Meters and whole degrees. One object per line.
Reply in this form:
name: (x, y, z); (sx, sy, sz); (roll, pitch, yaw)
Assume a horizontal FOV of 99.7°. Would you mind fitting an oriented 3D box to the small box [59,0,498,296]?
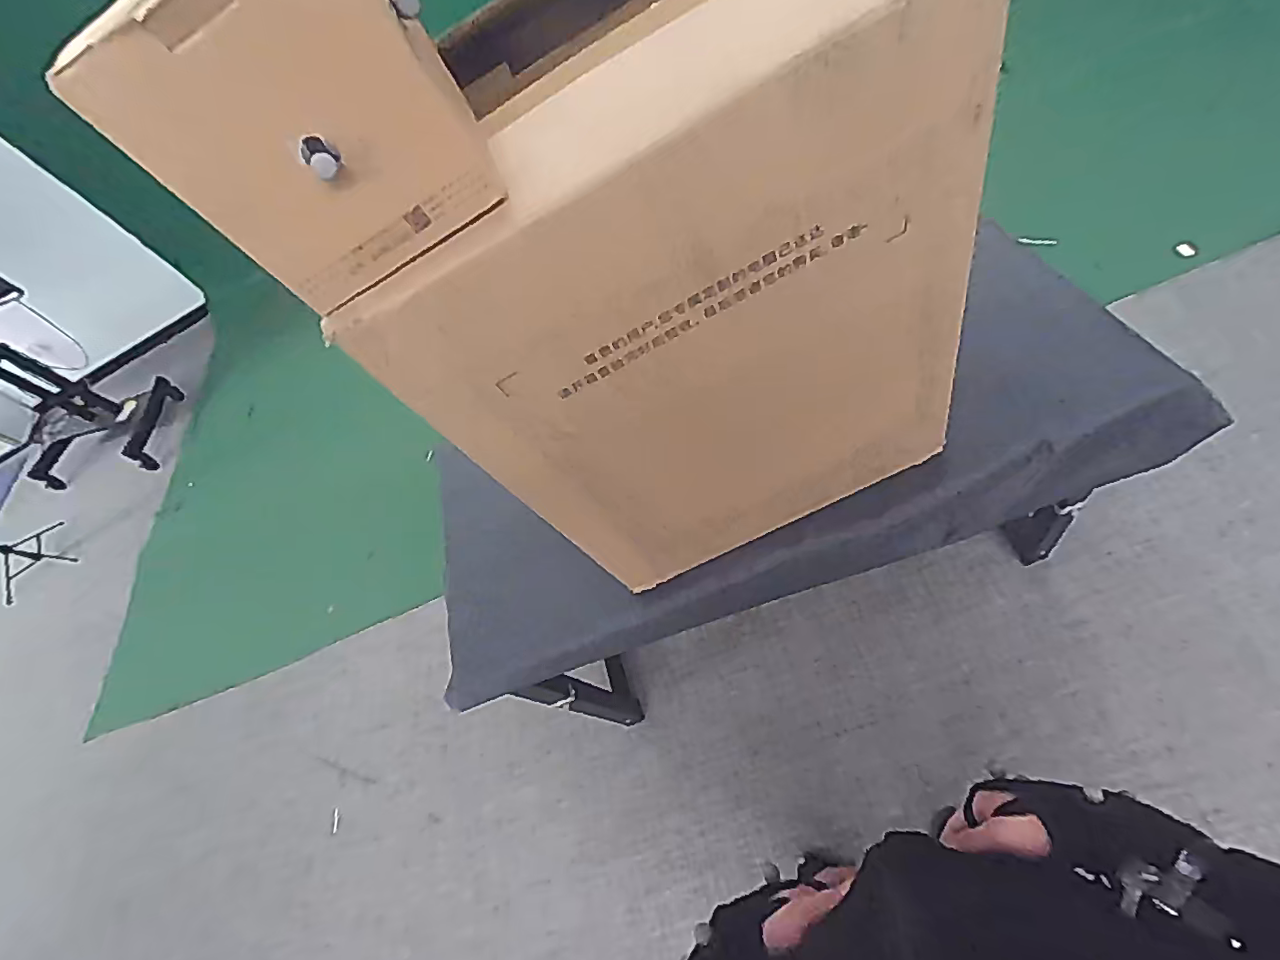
small box: (-0.220, -0.258, 0.373); (0.168, 0.176, 0.179); (-29, 55, 8)
